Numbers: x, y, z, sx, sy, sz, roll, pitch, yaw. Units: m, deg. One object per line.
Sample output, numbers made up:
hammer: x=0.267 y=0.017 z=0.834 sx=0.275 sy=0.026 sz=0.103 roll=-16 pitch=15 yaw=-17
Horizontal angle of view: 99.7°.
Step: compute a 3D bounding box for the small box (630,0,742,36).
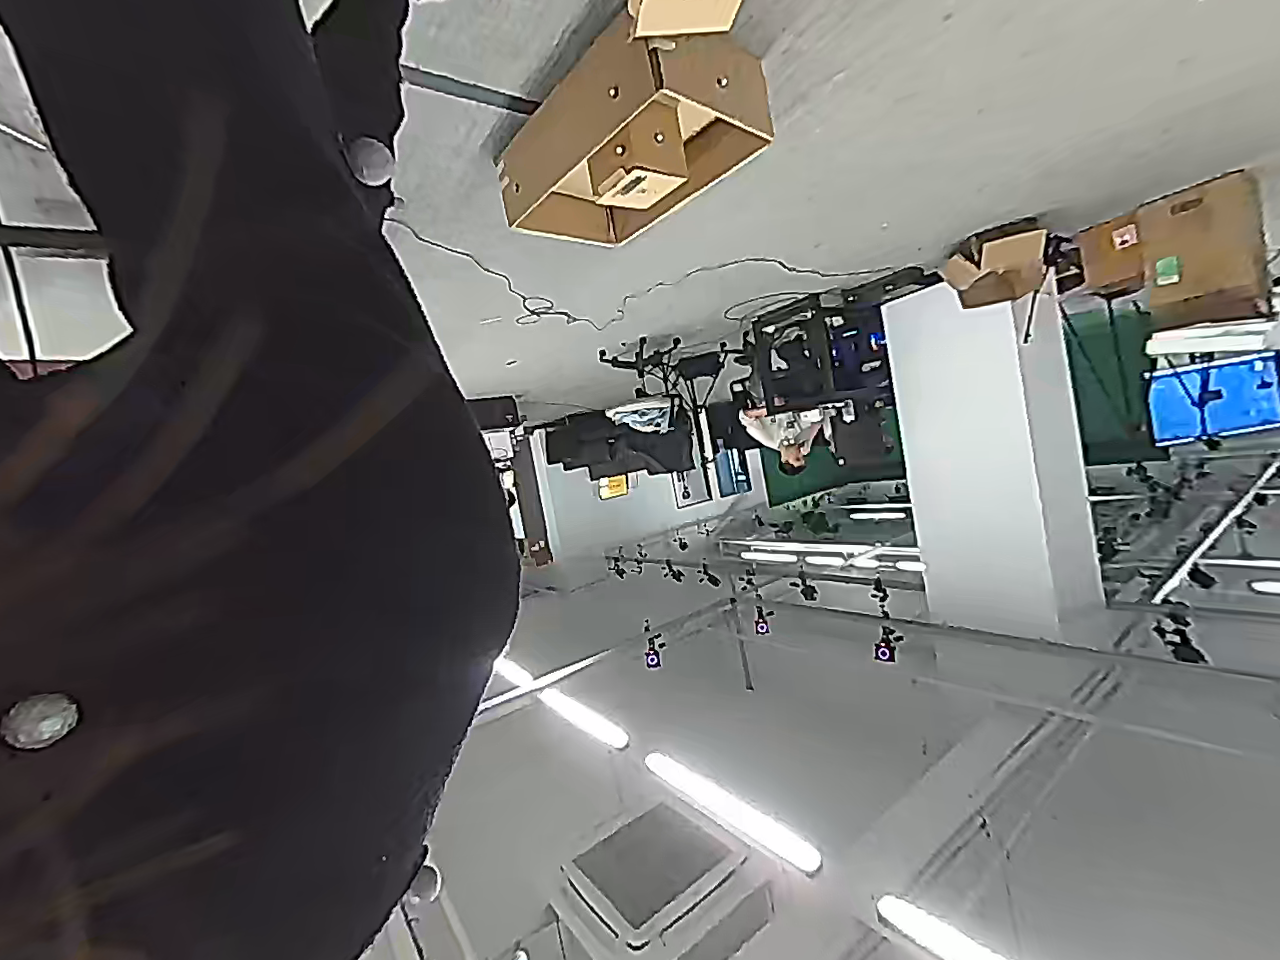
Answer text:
small box: x=0.069 y=-0.838 z=0.834 sx=0.179 sy=0.176 sz=0.168 roll=-12 pitch=-177 yaw=-11
